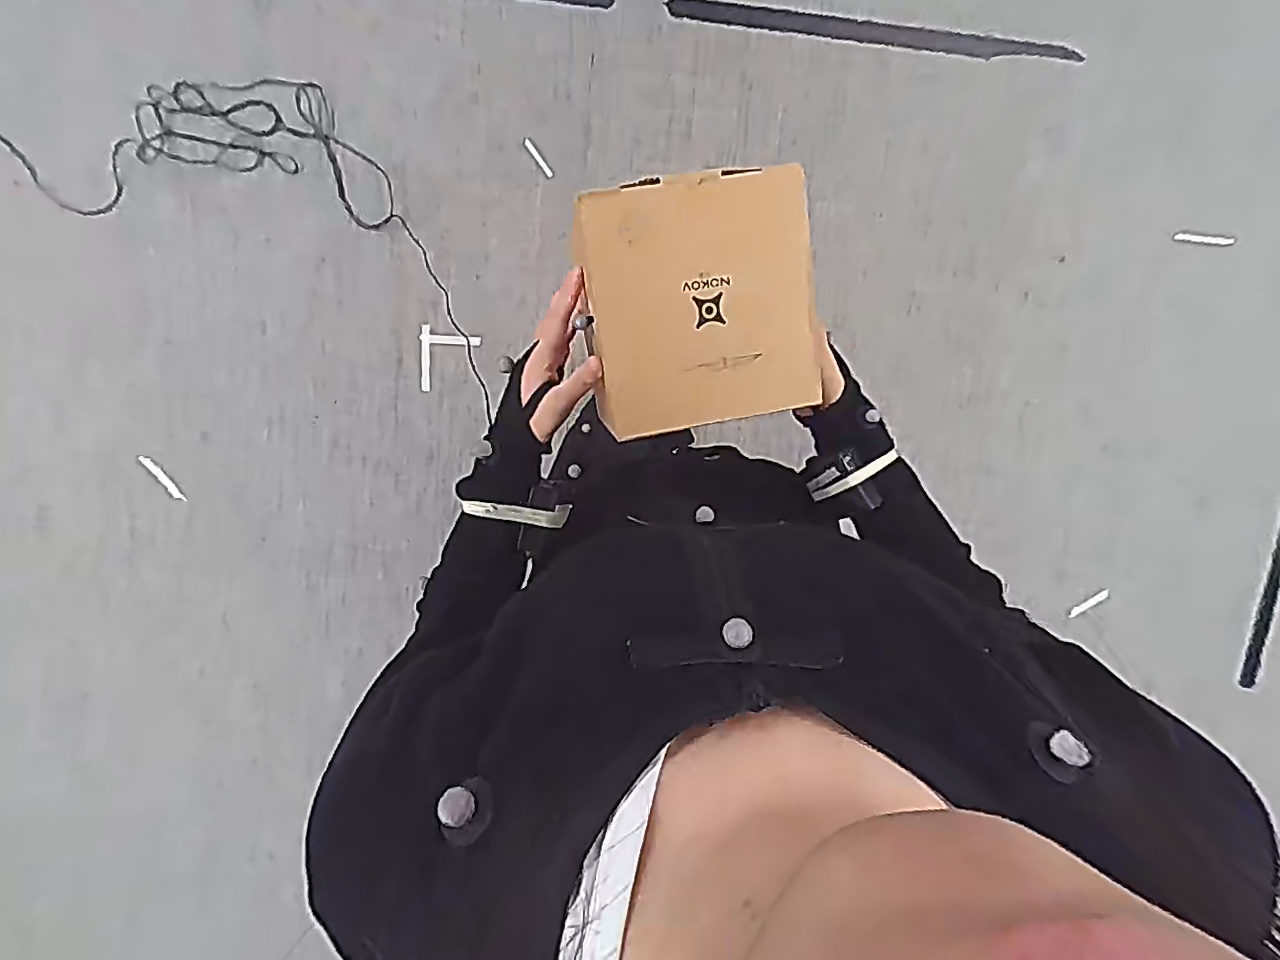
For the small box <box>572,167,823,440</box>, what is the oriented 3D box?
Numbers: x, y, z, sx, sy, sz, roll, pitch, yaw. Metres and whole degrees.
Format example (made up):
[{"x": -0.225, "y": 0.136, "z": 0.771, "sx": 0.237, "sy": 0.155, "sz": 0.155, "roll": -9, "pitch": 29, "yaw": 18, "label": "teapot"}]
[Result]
[{"x": 0.037, "y": -0.142, "z": 0.471, "sx": 0.168, "sy": 0.176, "sz": 0.179, "roll": -11, "pitch": 104, "yaw": -7, "label": "small box"}]
